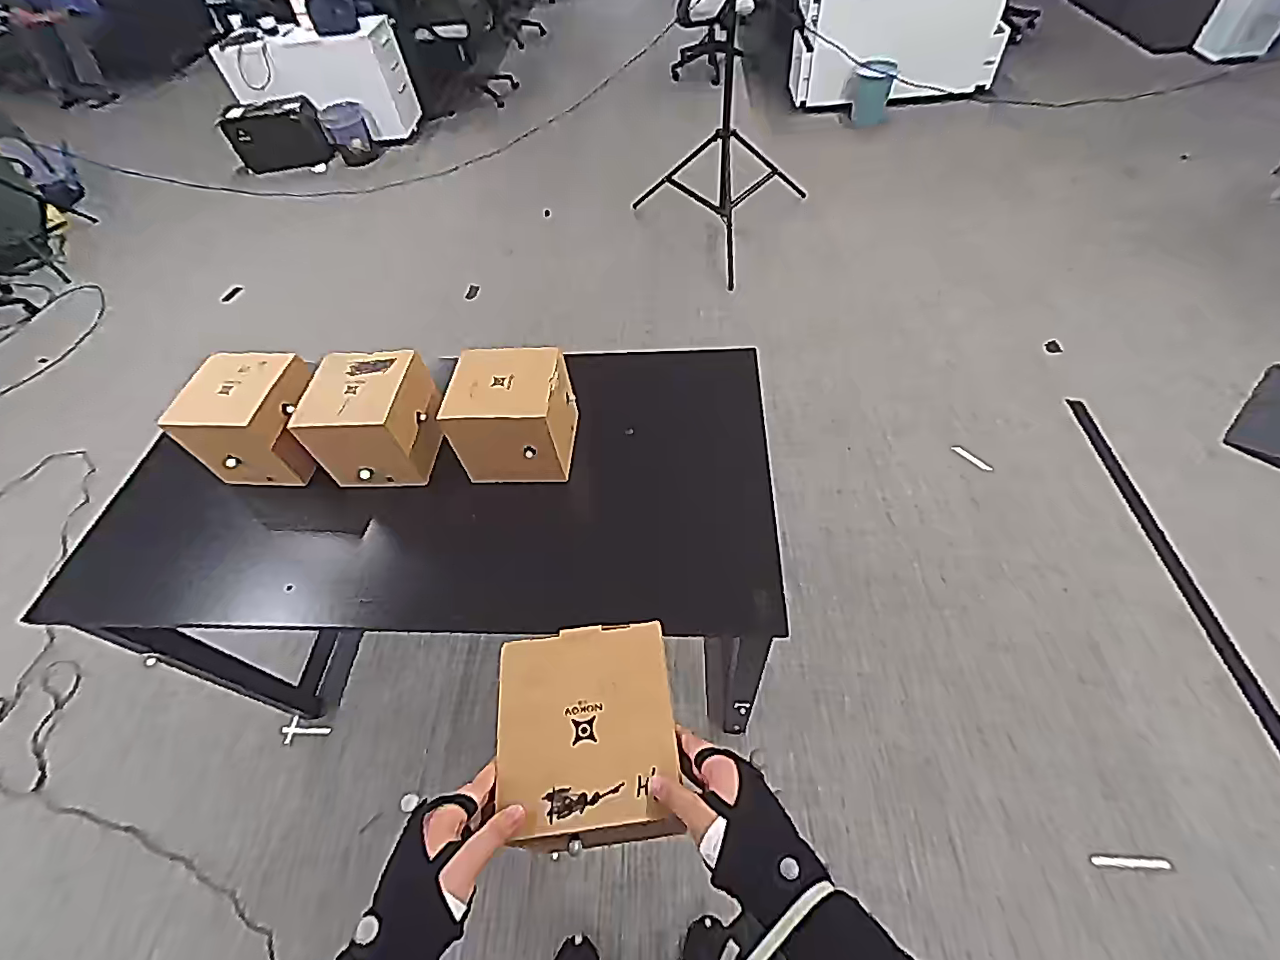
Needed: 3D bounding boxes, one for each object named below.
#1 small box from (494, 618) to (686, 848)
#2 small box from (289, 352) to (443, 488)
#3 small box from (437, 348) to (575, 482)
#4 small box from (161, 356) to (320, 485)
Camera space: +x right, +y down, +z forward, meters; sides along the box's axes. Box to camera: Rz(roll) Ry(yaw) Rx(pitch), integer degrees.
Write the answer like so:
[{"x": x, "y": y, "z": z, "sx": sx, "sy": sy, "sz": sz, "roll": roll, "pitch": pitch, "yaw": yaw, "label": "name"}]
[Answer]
[{"x": -0.045, "y": 0.269, "z": 0.570, "sx": 0.168, "sy": 0.176, "sz": 0.179, "roll": -9, "pitch": 53, "yaw": 0, "label": "small box"}, {"x": -0.465, "y": -0.104, "z": 0.958, "sx": 0.168, "sy": 0.176, "sz": 0.179, "roll": -2, "pitch": 55, "yaw": 4, "label": "small box"}, {"x": -0.218, "y": -0.108, "z": 0.938, "sx": 0.179, "sy": 0.176, "sz": 0.168, "roll": -2, "pitch": 52, "yaw": 6, "label": "small box"}, {"x": -0.688, "y": -0.105, "z": 0.983, "sx": 0.168, "sy": 0.176, "sz": 0.179, "roll": 2, "pitch": 54, "yaw": 6, "label": "small box"}]
